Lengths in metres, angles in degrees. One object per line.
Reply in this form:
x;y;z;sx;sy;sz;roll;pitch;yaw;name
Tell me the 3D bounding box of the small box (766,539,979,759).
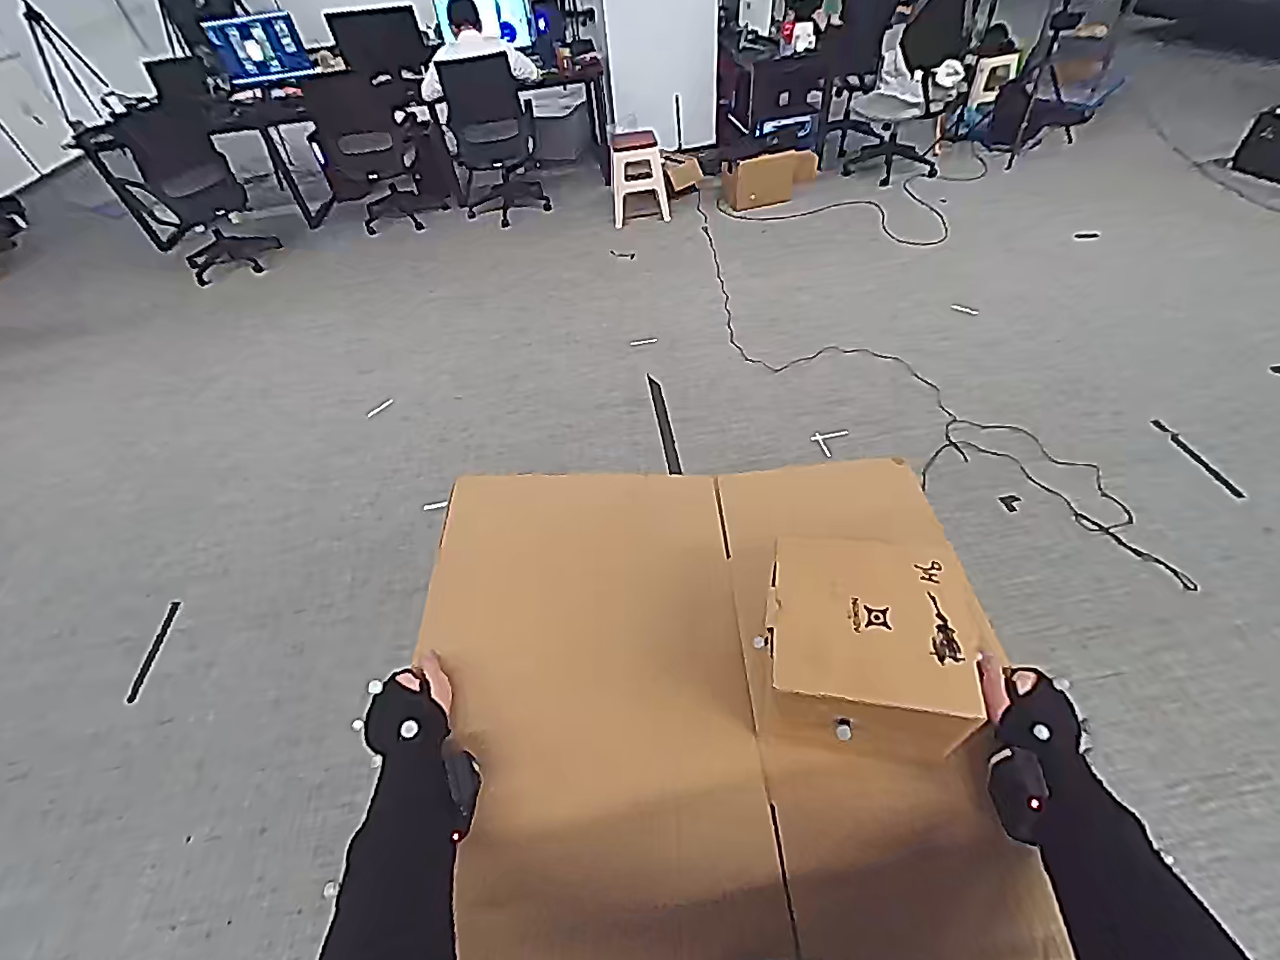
0.228;0.182;0.579;0.179;0.176;0.168;3;51;14;small box
